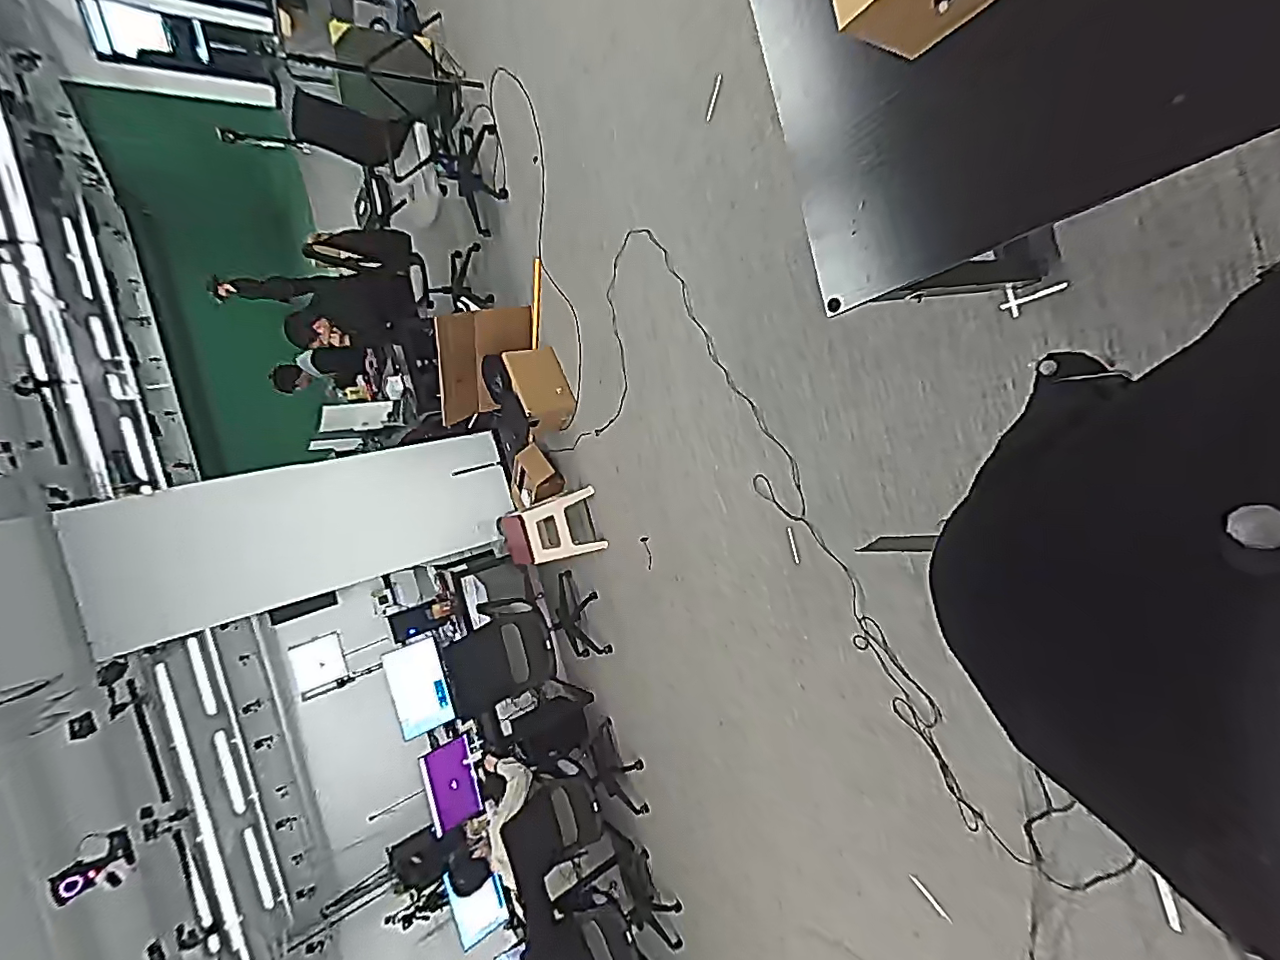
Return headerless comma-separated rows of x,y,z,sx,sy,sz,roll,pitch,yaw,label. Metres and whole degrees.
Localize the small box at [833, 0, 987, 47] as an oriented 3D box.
0.321,-0.621,0.593,0.168,0.176,0.179,-7,97,56,small box
